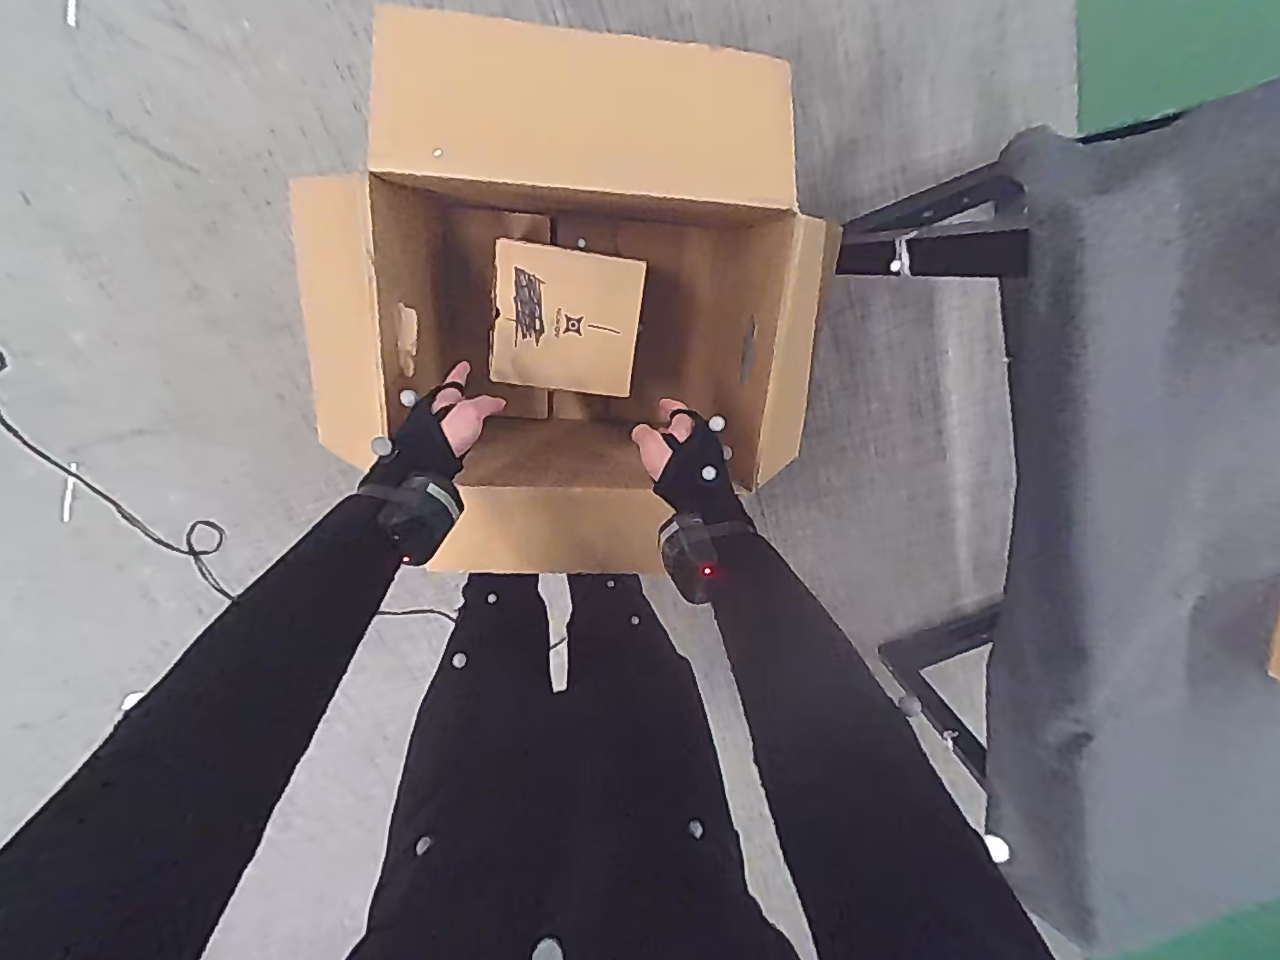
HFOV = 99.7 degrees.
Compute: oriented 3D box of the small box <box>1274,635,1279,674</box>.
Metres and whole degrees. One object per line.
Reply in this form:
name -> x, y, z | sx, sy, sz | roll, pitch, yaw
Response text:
small box -> 0.861, 0.185, 0.582 | 0.168, 0.176, 0.179 | -19, 110, -2
